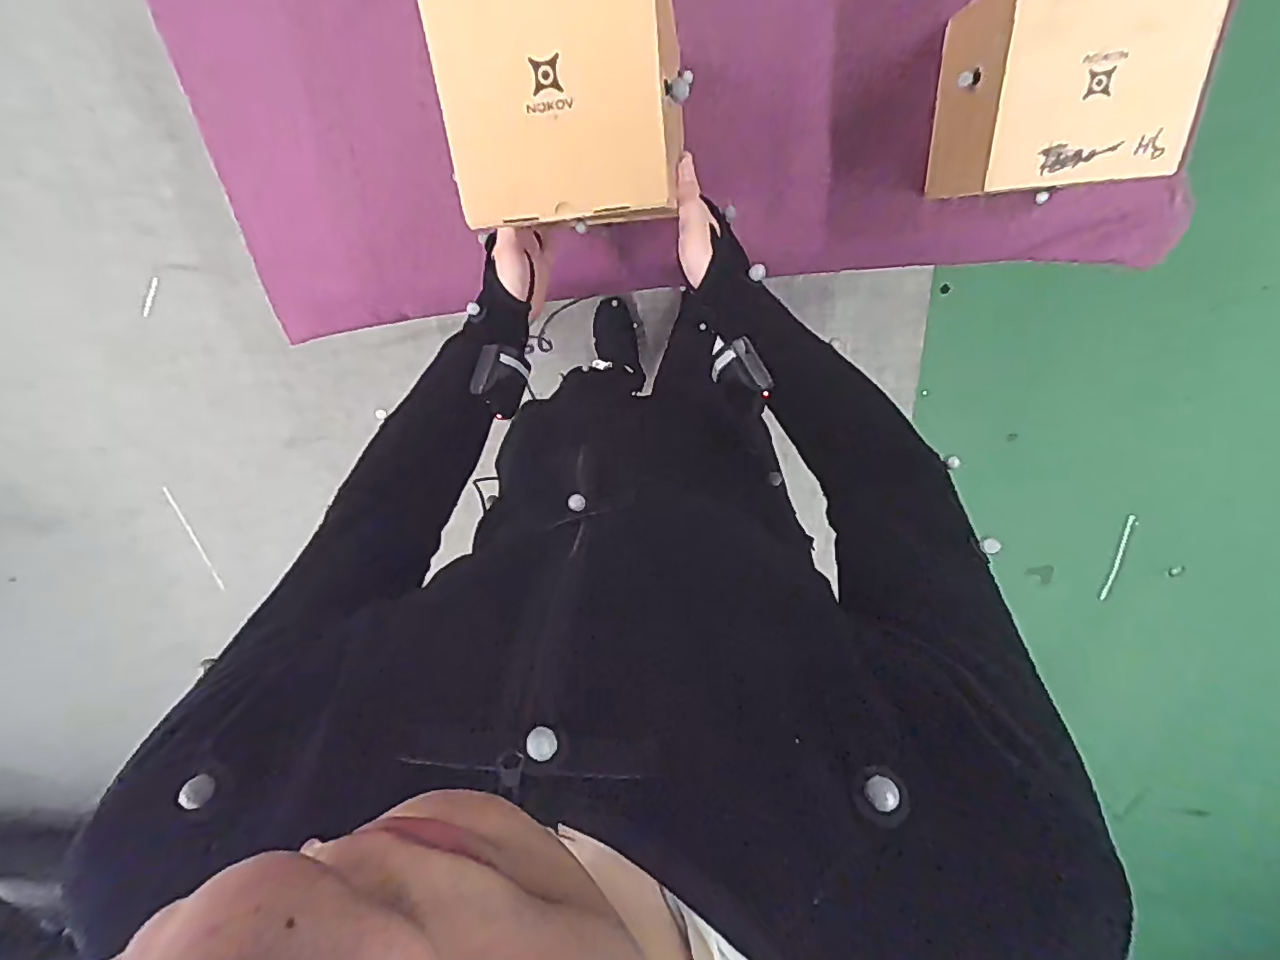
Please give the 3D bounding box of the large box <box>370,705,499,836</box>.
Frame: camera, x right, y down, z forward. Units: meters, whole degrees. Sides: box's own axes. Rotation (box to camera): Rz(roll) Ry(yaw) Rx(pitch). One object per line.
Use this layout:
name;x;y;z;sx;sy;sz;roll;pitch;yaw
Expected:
large box;-0.853;1.209;2.269;0.408;0.320;0.320;18;118;-4

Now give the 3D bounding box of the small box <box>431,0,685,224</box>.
small box;-0.050;-0.318;0.454;0.168;0.176;0.179;-2;116;8

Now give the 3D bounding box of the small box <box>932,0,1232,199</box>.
small box;0.416;-0.391;0.543;0.168;0.176;0.179;-1;115;8

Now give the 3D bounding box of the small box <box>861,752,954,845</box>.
small box;0.819;0.980;1.678;0.179;0.176;0.168;32;117;-10
